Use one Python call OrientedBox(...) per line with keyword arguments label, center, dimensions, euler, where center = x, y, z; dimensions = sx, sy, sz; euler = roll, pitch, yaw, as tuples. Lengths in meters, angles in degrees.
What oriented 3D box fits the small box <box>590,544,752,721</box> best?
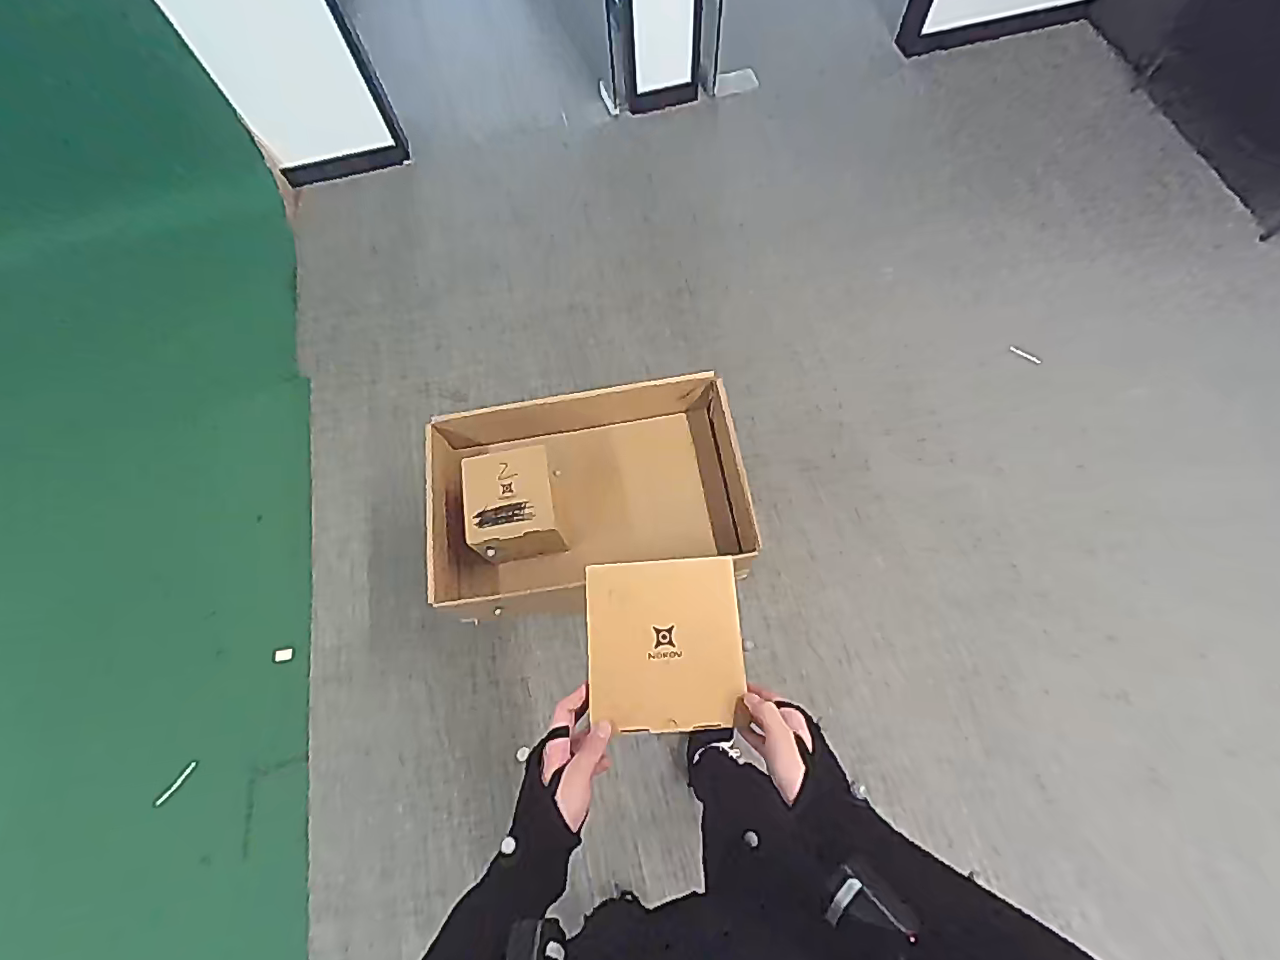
OrientedBox(label="small box", center=(0.031, 0.182, 0.650), dimensions=(0.168, 0.176, 0.179), euler=(-4, 73, 1))
